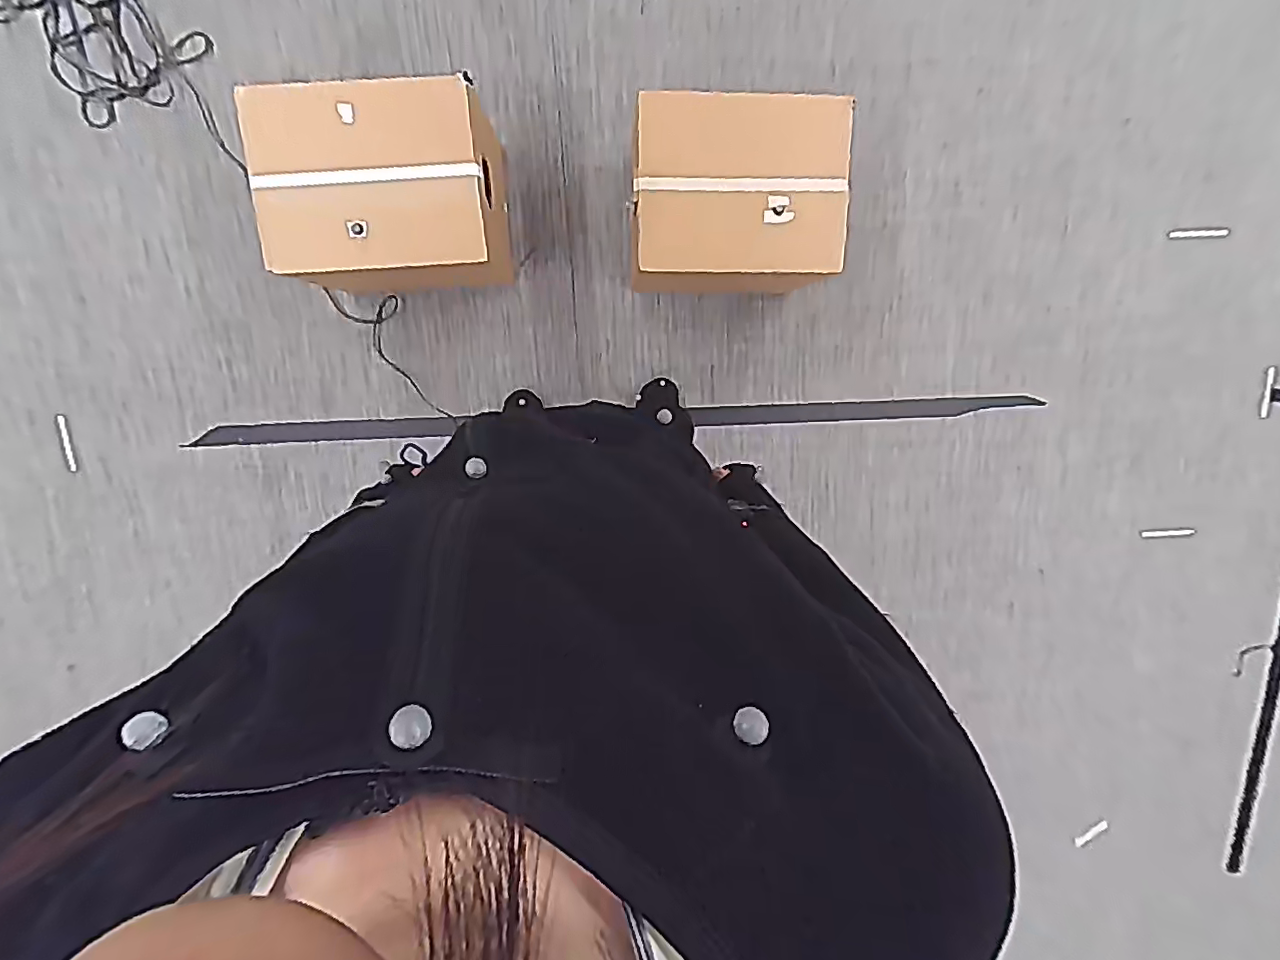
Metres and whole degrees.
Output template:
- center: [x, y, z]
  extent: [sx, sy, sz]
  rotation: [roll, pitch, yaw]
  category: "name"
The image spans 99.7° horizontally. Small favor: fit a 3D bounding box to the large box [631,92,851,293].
- center: [0.189, -0.592, 1.175]
  extent: [0.408, 0.320, 0.320]
  rotation: [-1, 102, -4]
  category: "large box"
